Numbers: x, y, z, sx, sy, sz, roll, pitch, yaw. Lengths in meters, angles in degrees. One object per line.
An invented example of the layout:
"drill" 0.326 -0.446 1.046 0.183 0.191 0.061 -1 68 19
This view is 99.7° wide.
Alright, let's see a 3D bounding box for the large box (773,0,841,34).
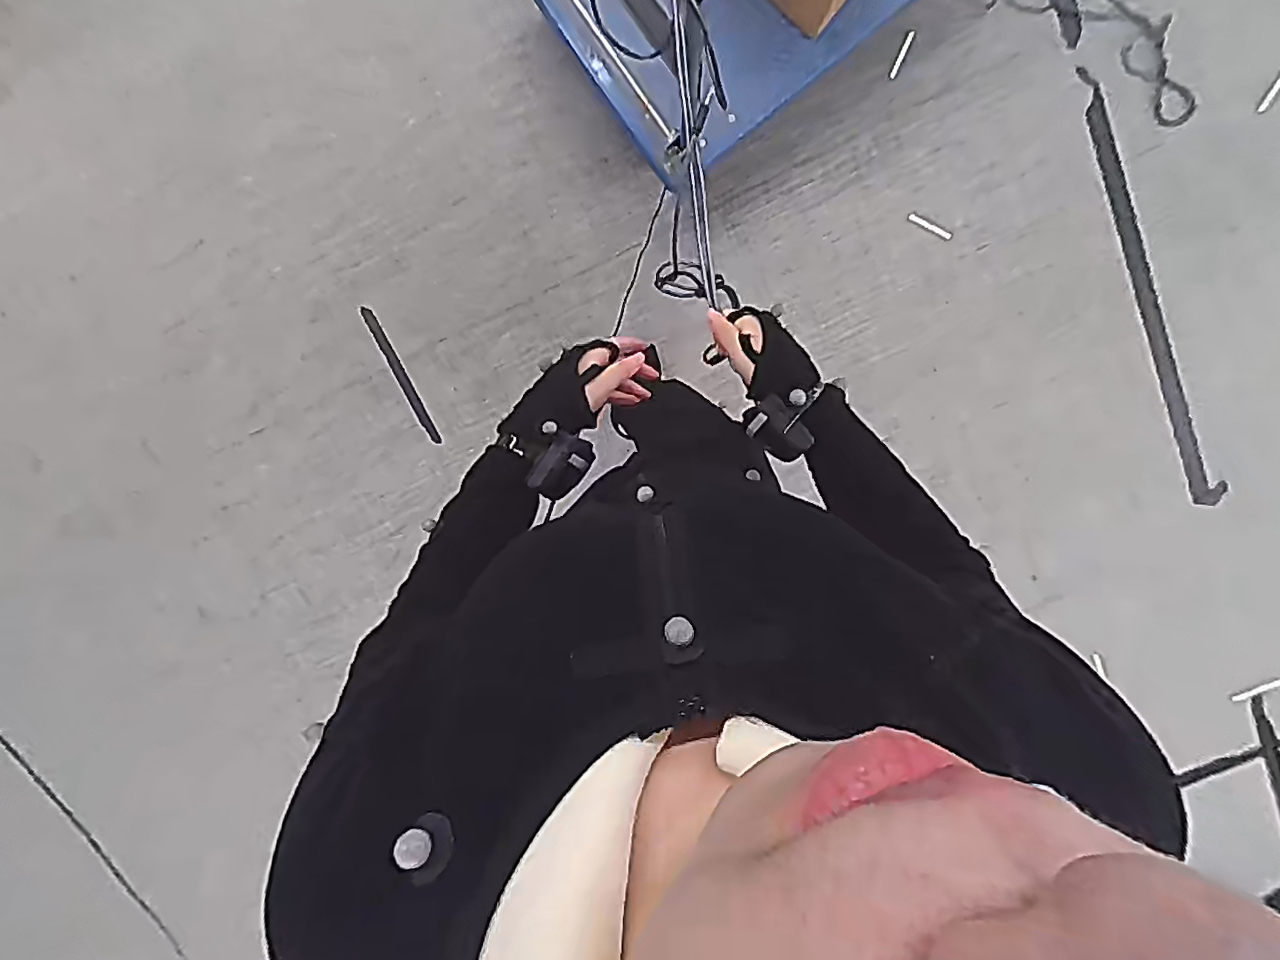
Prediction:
"large box" 0.295 -1.127 0.935 0.408 0.320 0.320 38 100 -6
